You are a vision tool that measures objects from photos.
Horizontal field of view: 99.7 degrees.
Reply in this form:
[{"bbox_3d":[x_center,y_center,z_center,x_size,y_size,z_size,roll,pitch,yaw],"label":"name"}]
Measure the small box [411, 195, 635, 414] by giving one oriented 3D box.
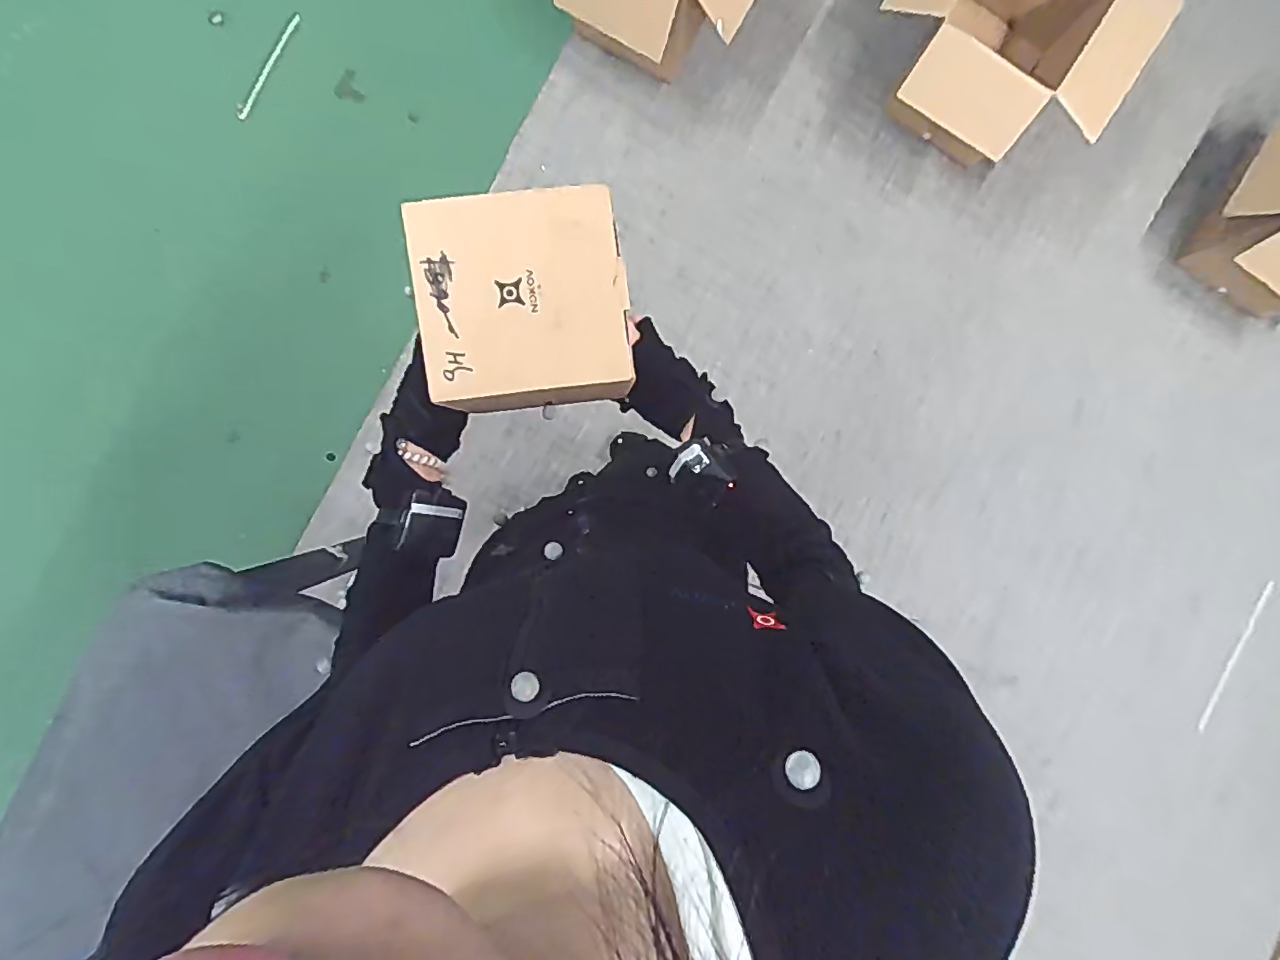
[{"bbox_3d":[-0.105,-0.160,0.540,0.179,0.176,0.168,-6,93,-4],"label":"small box"}]
